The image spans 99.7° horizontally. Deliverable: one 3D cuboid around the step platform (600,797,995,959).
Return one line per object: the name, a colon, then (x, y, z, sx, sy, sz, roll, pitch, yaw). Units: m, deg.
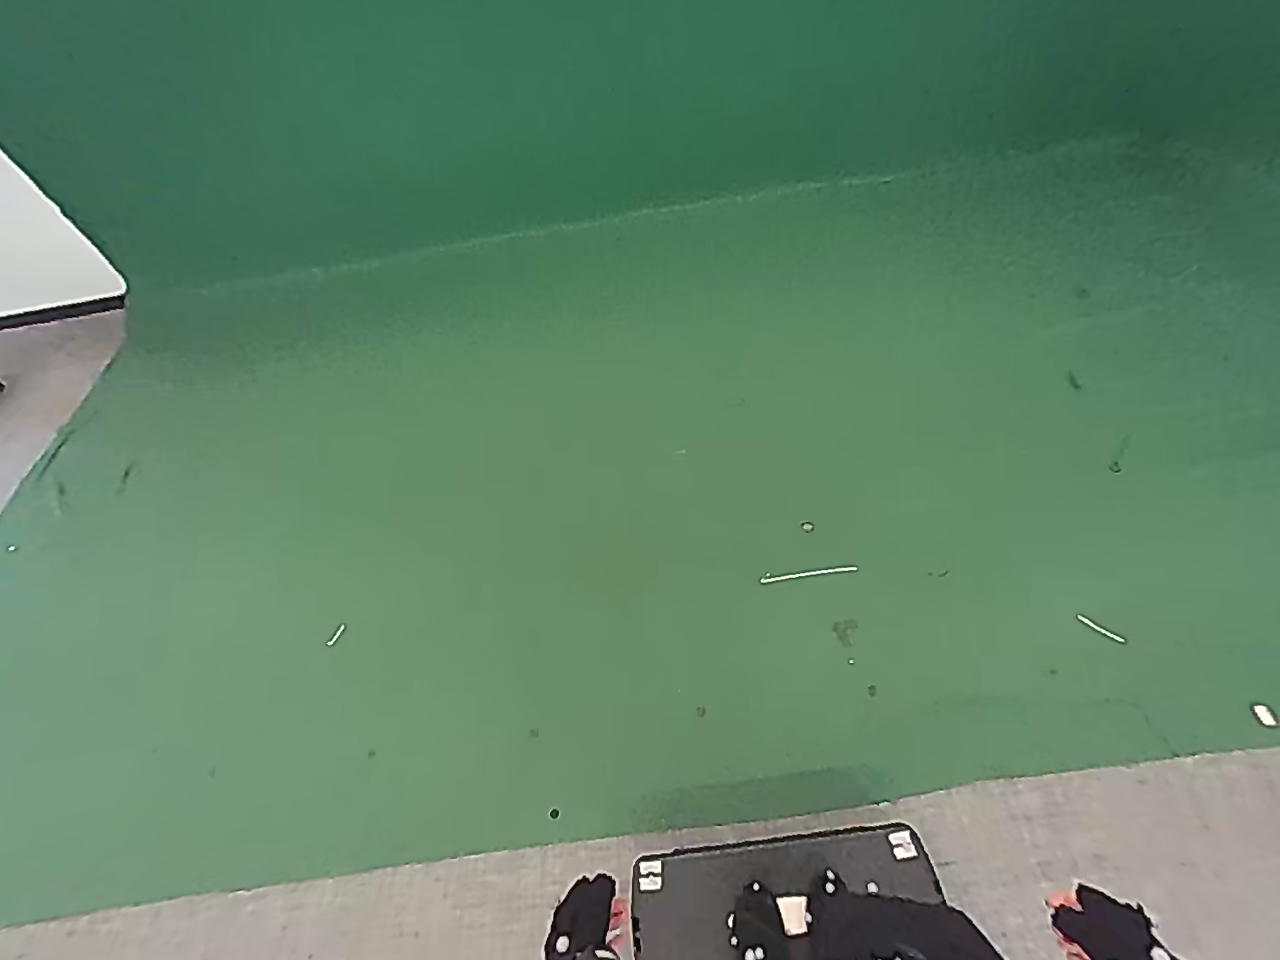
step platform: (0.276, 0.829, 1.059, 0.684, 0.204, 0.286, -9, 54, 2)
